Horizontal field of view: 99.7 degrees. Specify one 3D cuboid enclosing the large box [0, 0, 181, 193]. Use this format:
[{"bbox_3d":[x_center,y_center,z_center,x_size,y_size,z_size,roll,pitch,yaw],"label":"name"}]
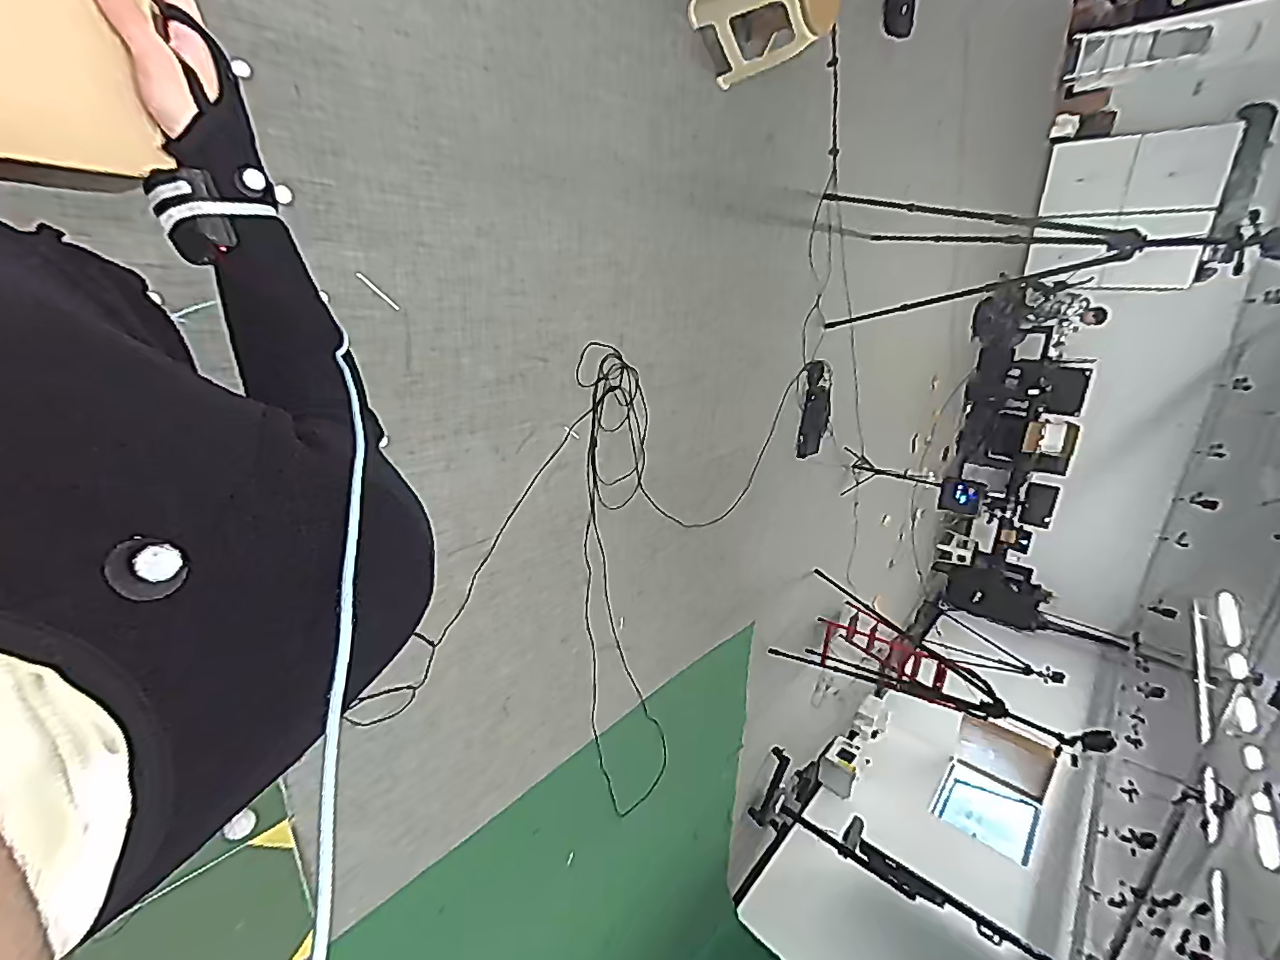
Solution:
[{"bbox_3d":[-0.621,-0.393,0.352,0.408,0.320,0.320,-19,121,-46],"label":"large box"}]
